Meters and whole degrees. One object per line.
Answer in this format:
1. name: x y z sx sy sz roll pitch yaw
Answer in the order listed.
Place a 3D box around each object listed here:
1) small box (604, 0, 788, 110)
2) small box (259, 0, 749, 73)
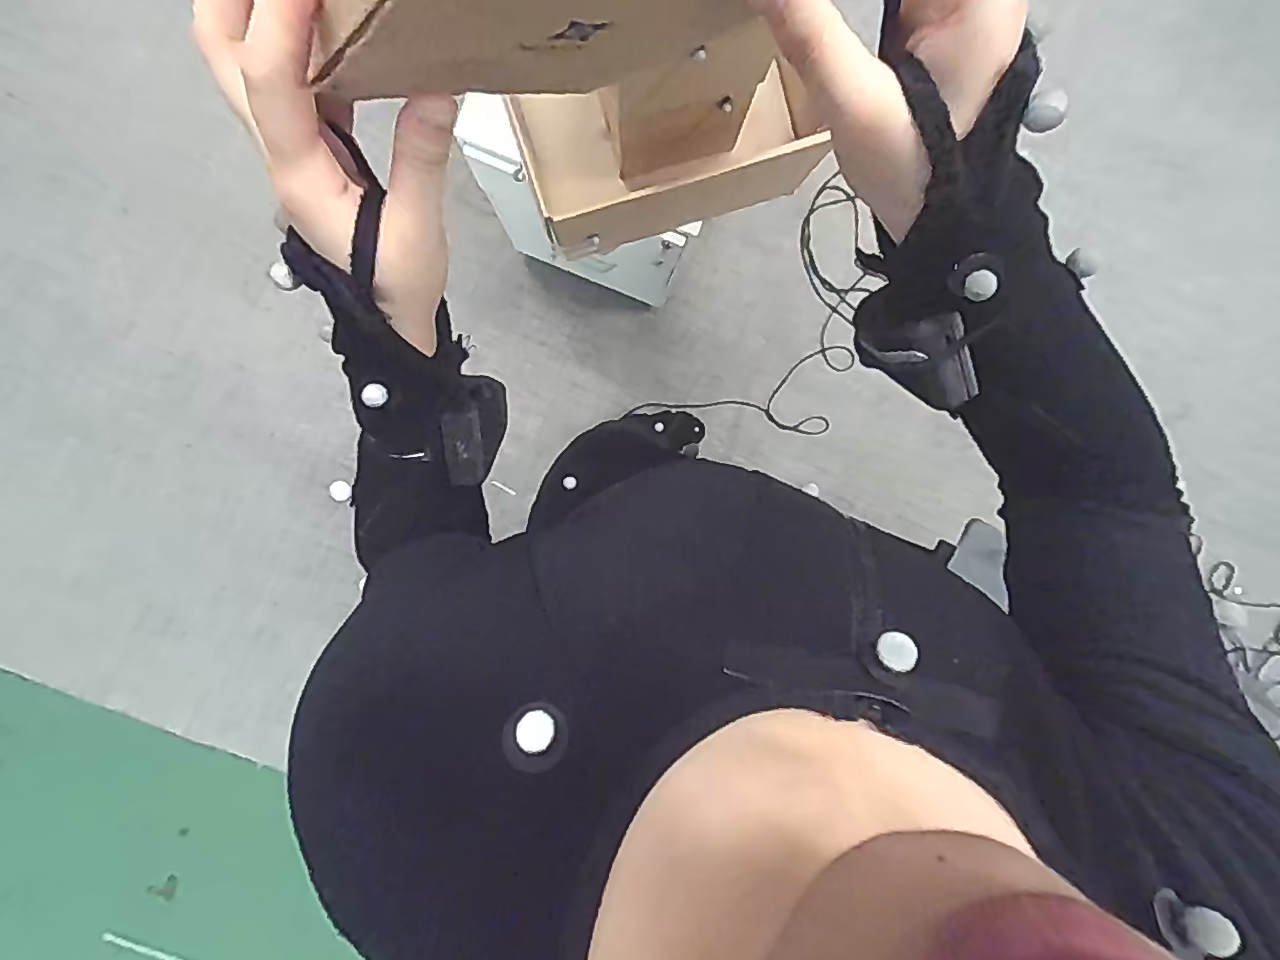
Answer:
1. small box: 0.040 -0.511 0.532 0.179 0.176 0.168 -16 95 0
2. small box: -0.048 -0.259 0.178 0.168 0.179 0.176 -30 123 -32
